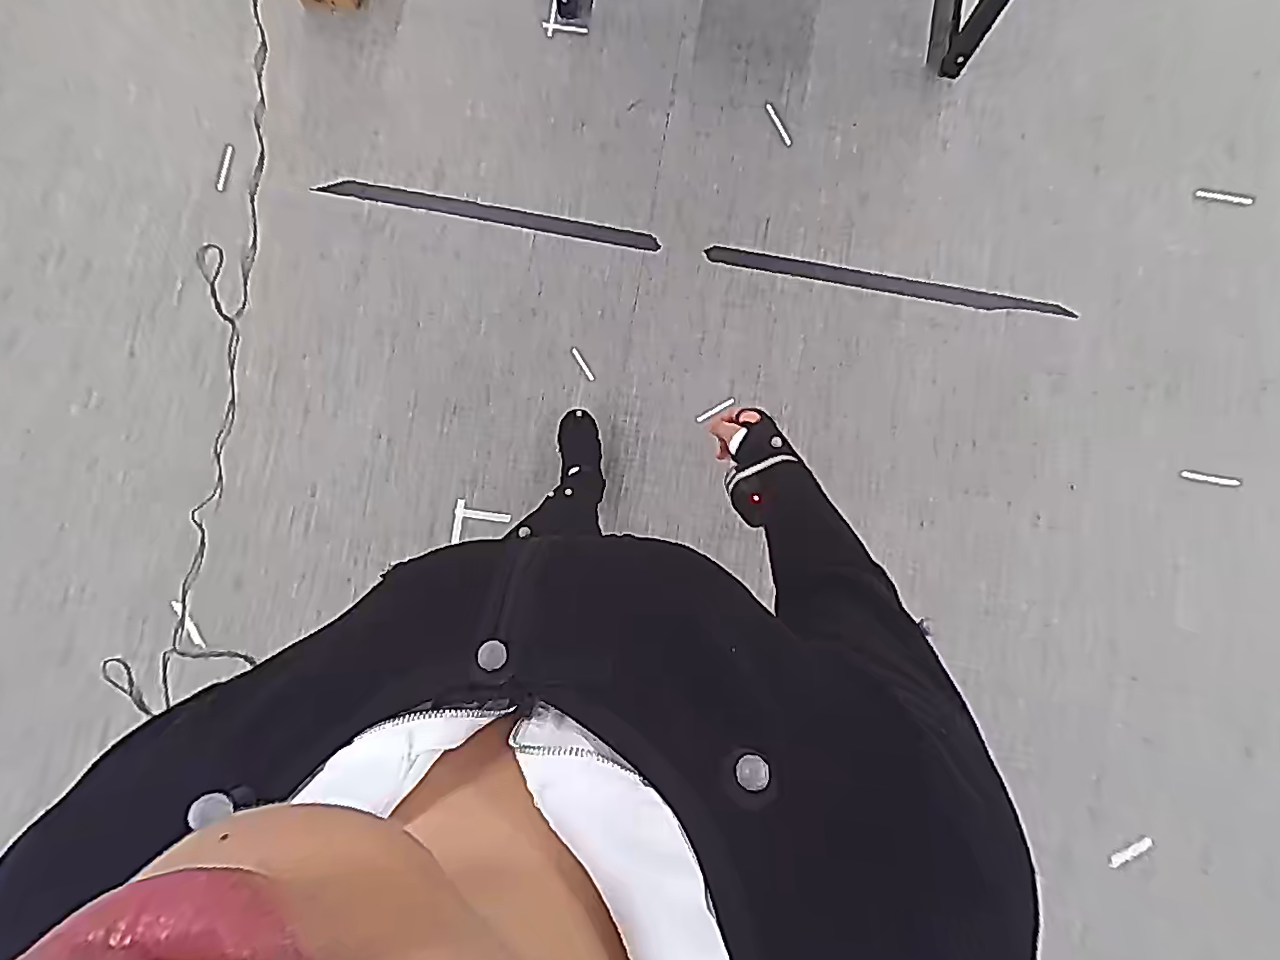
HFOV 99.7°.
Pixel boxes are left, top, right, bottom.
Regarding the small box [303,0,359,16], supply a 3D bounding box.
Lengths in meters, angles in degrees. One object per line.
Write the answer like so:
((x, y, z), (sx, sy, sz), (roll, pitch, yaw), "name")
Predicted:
((-0.922, -1.498, 1.555), (0.168, 0.176, 0.179), (6, 86, 2), "small box")
